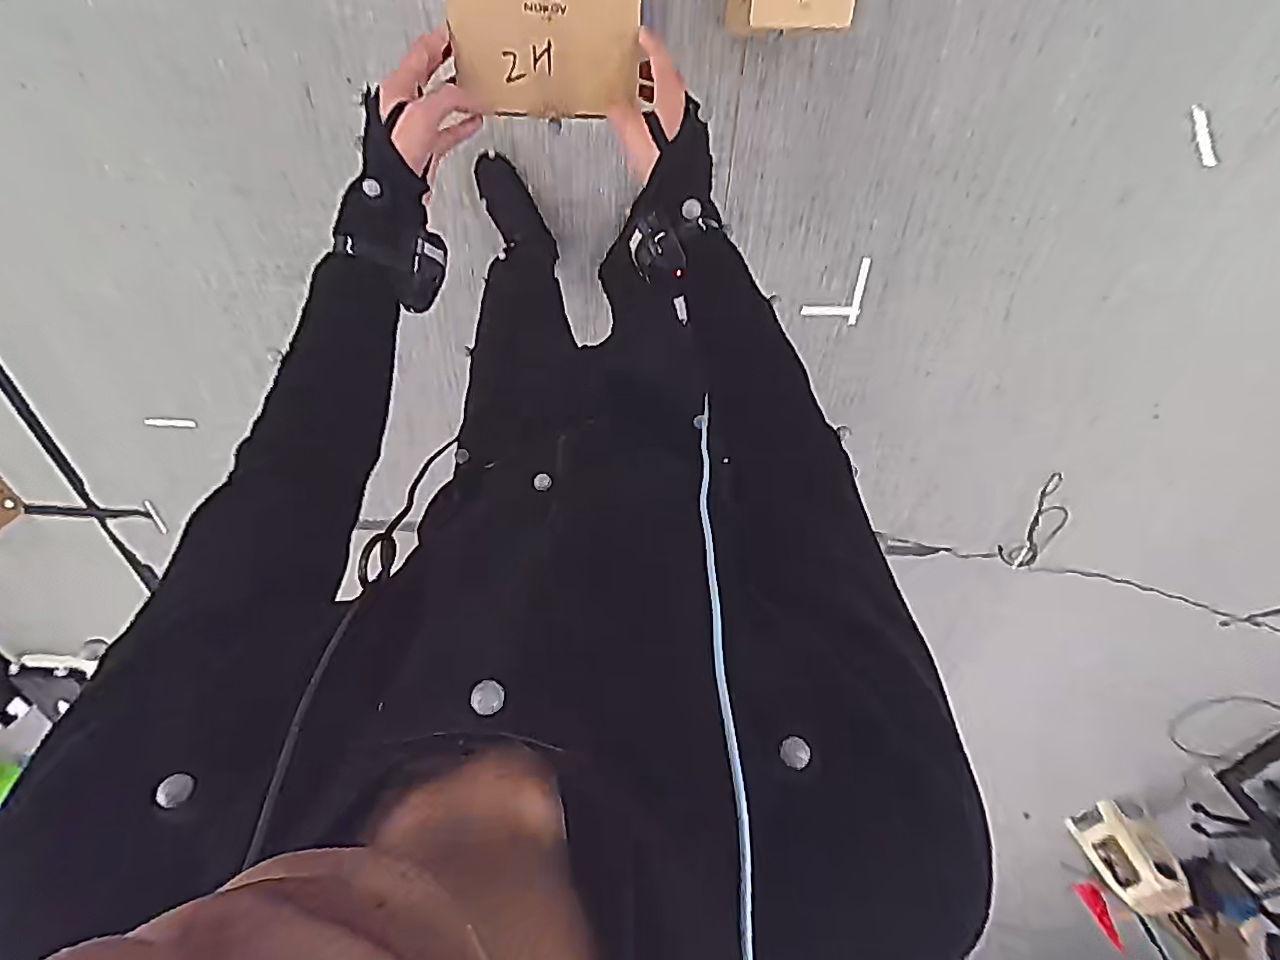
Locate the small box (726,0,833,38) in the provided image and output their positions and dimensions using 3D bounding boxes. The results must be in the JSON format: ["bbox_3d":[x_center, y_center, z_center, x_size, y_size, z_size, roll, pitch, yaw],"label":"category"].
[{"bbox_3d":[0.265,-0.949,1.021,0.179,0.176,0.168,1,127,-2],"label":"small box"}]

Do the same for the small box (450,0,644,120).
[{"bbox_3d":[-0.085,-0.455,0.518,0.168,0.176,0.179,-1,125,-5],"label":"small box"}]
